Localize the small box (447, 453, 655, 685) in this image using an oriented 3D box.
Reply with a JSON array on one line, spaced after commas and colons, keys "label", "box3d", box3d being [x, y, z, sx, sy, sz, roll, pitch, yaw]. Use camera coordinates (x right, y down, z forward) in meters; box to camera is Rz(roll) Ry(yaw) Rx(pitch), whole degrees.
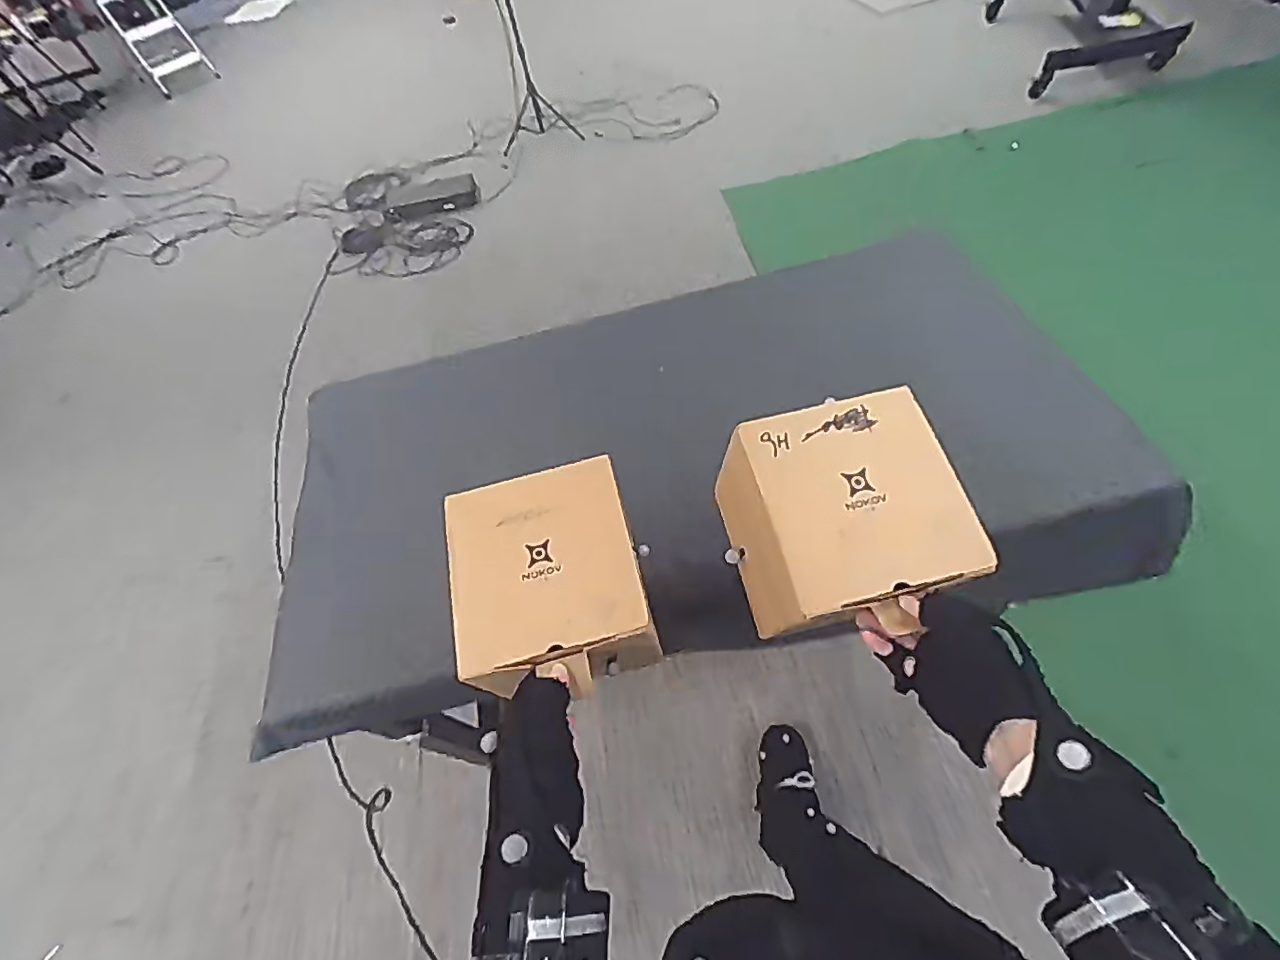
[{"label": "small box", "box3d": [-0.085, 0.103, 0.565, 0.168, 0.176, 0.179, -15, 60, -3]}]
